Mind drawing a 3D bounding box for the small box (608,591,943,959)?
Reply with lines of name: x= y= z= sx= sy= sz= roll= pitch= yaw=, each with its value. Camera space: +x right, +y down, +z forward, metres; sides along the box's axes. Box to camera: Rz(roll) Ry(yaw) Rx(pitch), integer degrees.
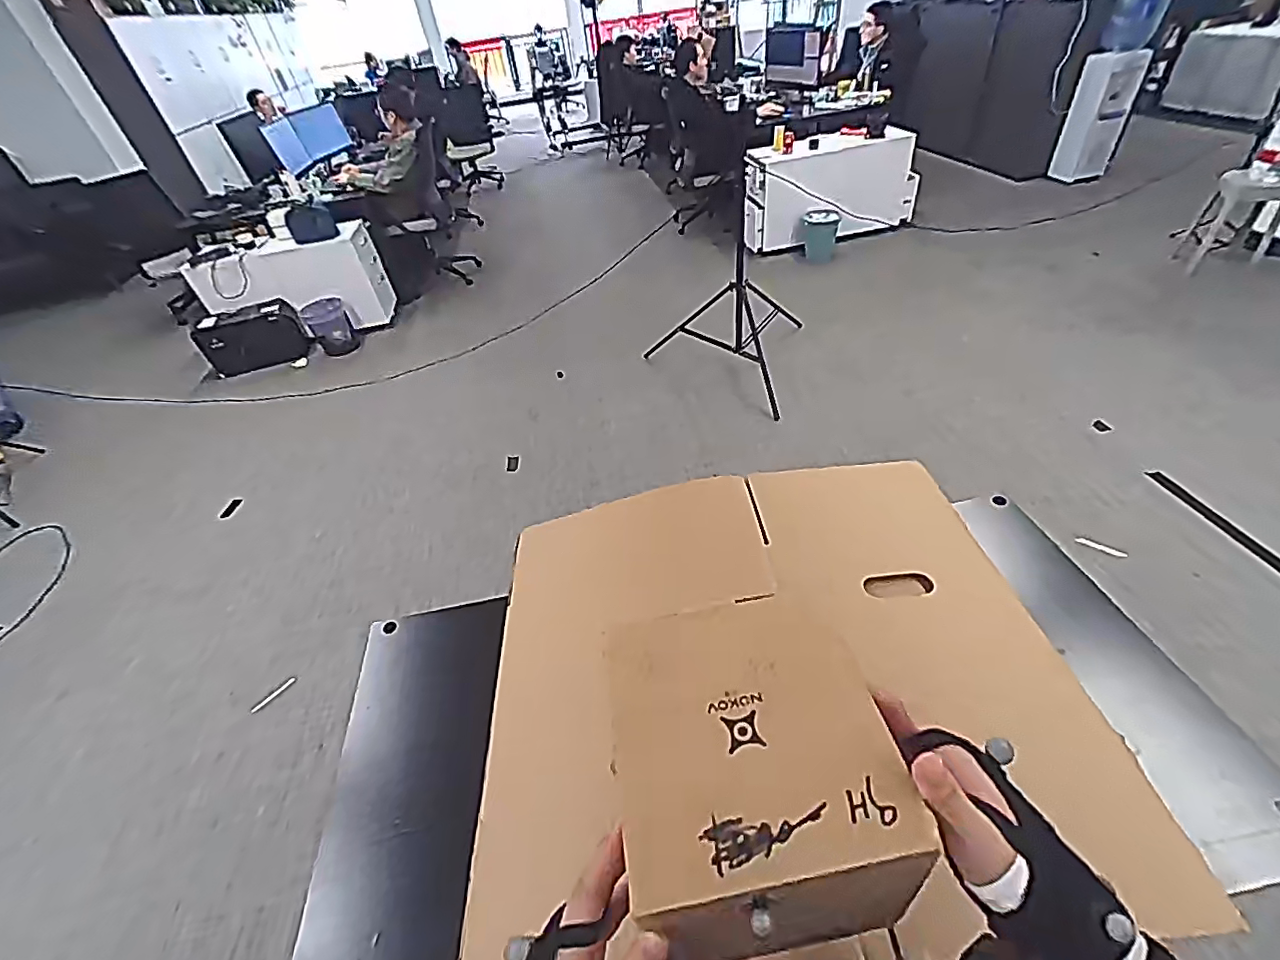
small box: x=0.077 y=0.213 z=0.389 sx=0.168 sy=0.176 sz=0.179 roll=-13 pitch=39 yaw=0
